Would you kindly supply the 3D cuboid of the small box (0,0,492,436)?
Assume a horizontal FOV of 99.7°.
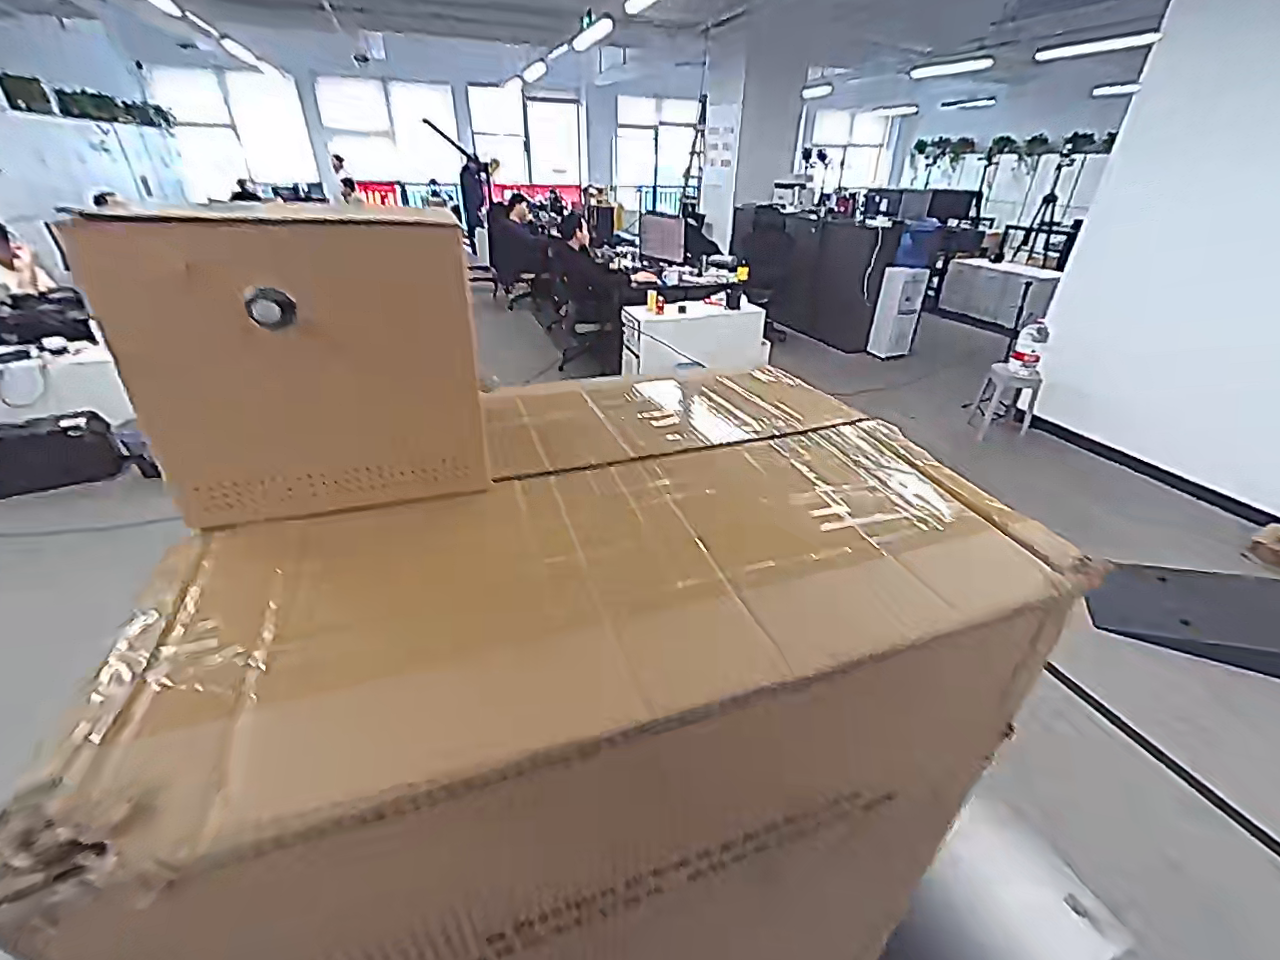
[{"bbox_3d":[-0.184,-0.131,0.289,0.179,0.176,0.168,-8,30,-18],"label":"small box"}]
